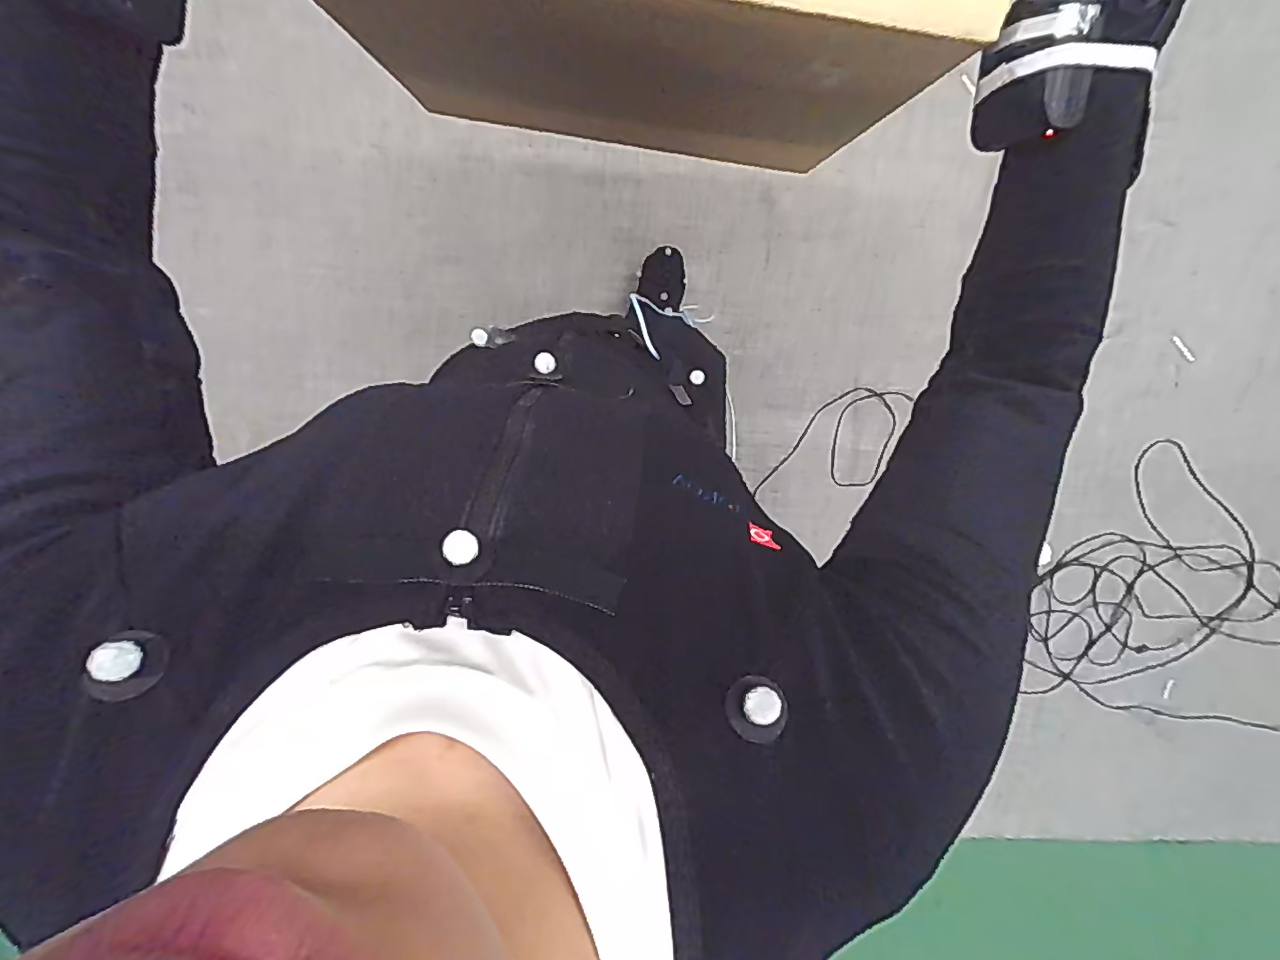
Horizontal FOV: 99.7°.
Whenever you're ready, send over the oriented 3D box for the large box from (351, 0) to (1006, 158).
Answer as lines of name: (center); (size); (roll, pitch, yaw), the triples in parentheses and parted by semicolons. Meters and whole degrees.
large box: (0.012, -0.460, 0.379); (0.408, 0.320, 0.320); (6, 108, -5)
